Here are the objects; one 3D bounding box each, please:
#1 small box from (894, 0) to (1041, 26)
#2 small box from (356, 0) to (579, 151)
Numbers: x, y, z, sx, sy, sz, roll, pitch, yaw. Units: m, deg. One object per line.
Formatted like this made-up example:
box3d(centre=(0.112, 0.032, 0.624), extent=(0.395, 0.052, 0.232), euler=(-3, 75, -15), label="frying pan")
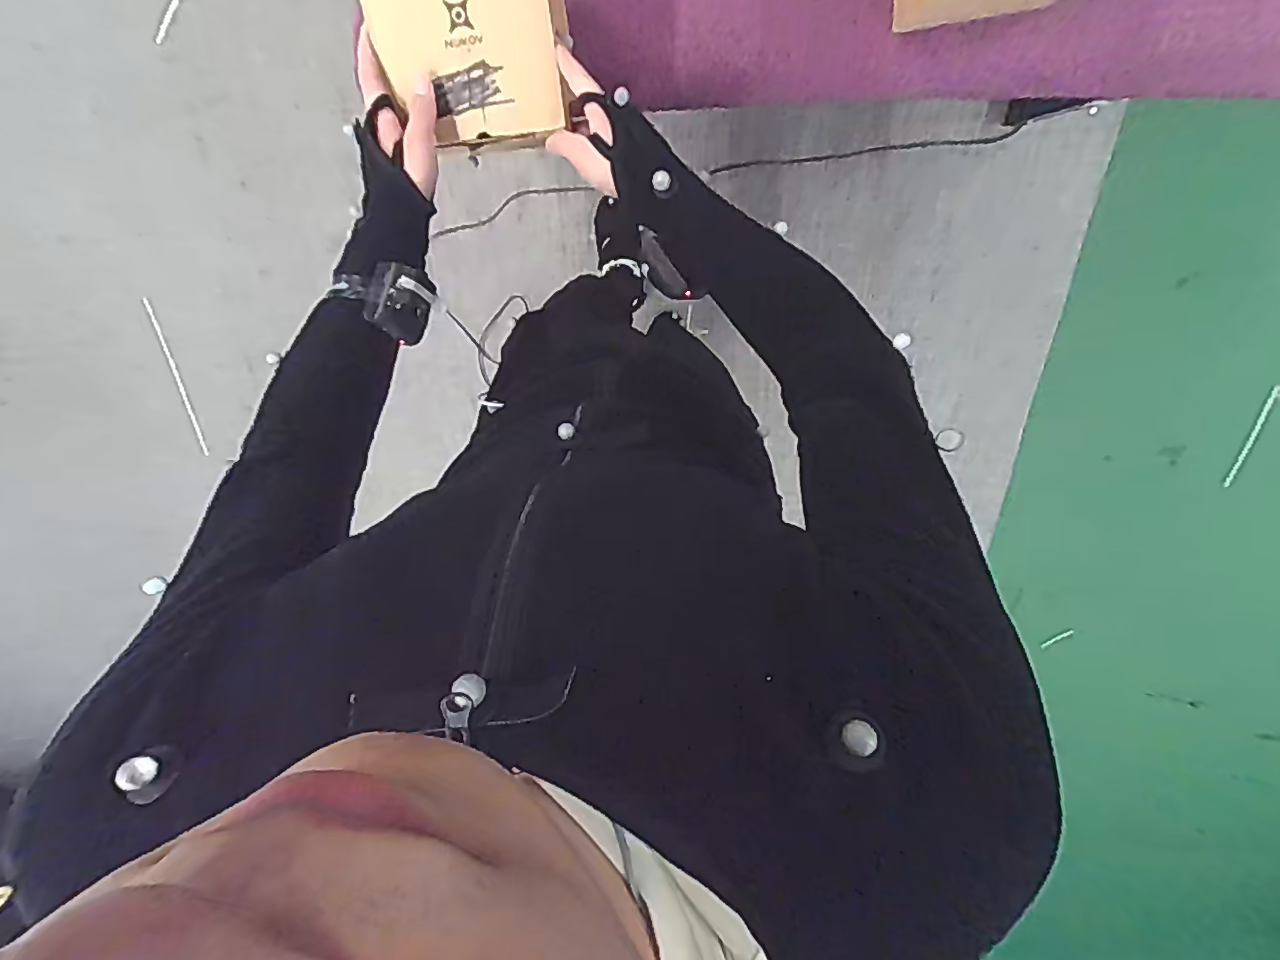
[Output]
box3d(centre=(0.366, -0.570, 0.511), extent=(0.179, 0.176, 0.168), euler=(-6, 114, 5), label="small box")
box3d(centre=(-0.161, -0.441, 0.544), extent=(0.168, 0.176, 0.179), euler=(-5, 119, 3), label="small box")
